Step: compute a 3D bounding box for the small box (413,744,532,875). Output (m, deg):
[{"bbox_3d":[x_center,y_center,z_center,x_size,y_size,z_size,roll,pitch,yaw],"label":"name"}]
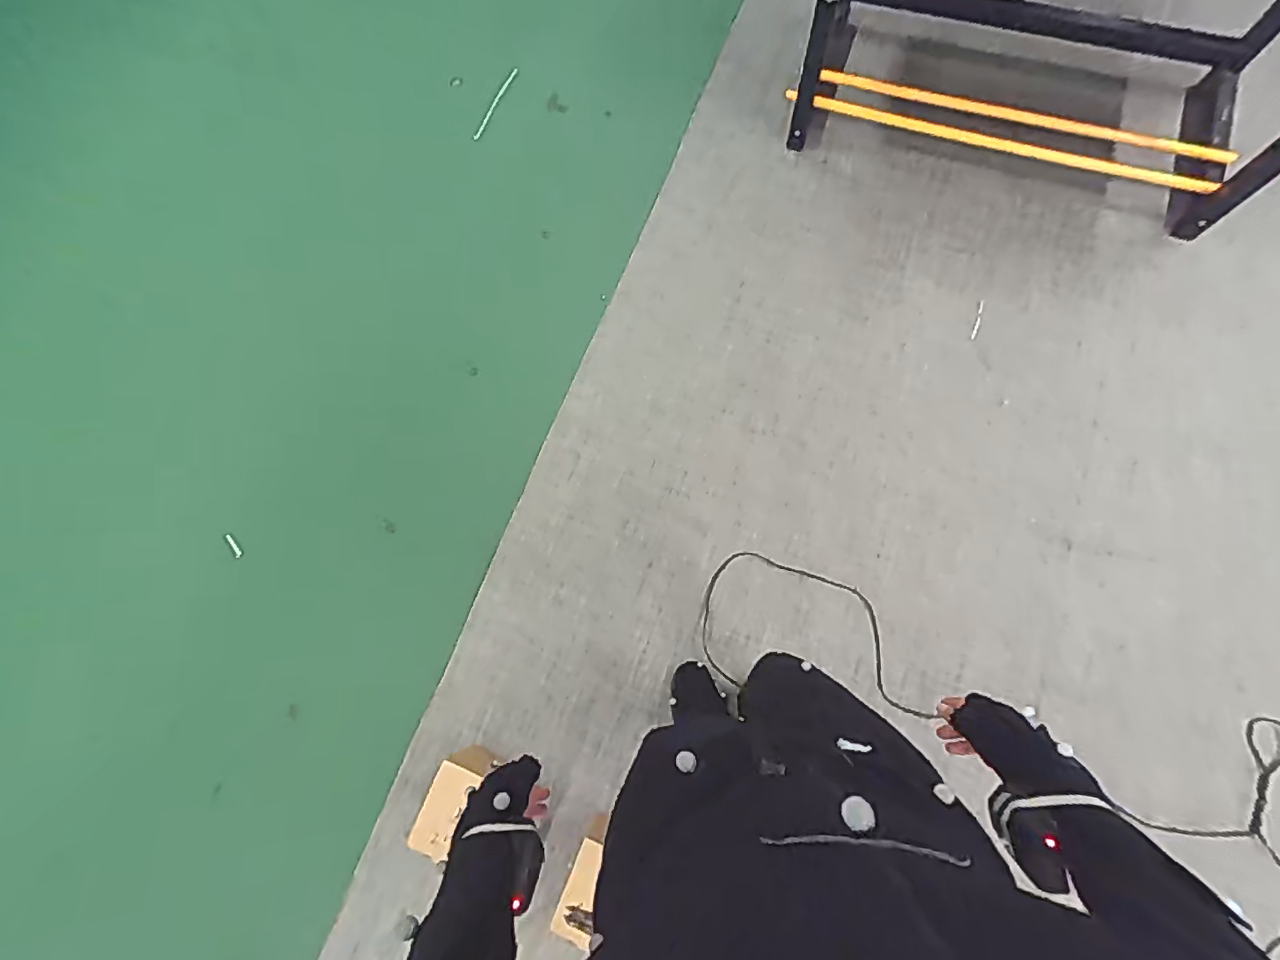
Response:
[{"bbox_3d":[-0.353,0.705,1.183,0.168,0.176,0.179,20,76,10],"label":"small box"}]
